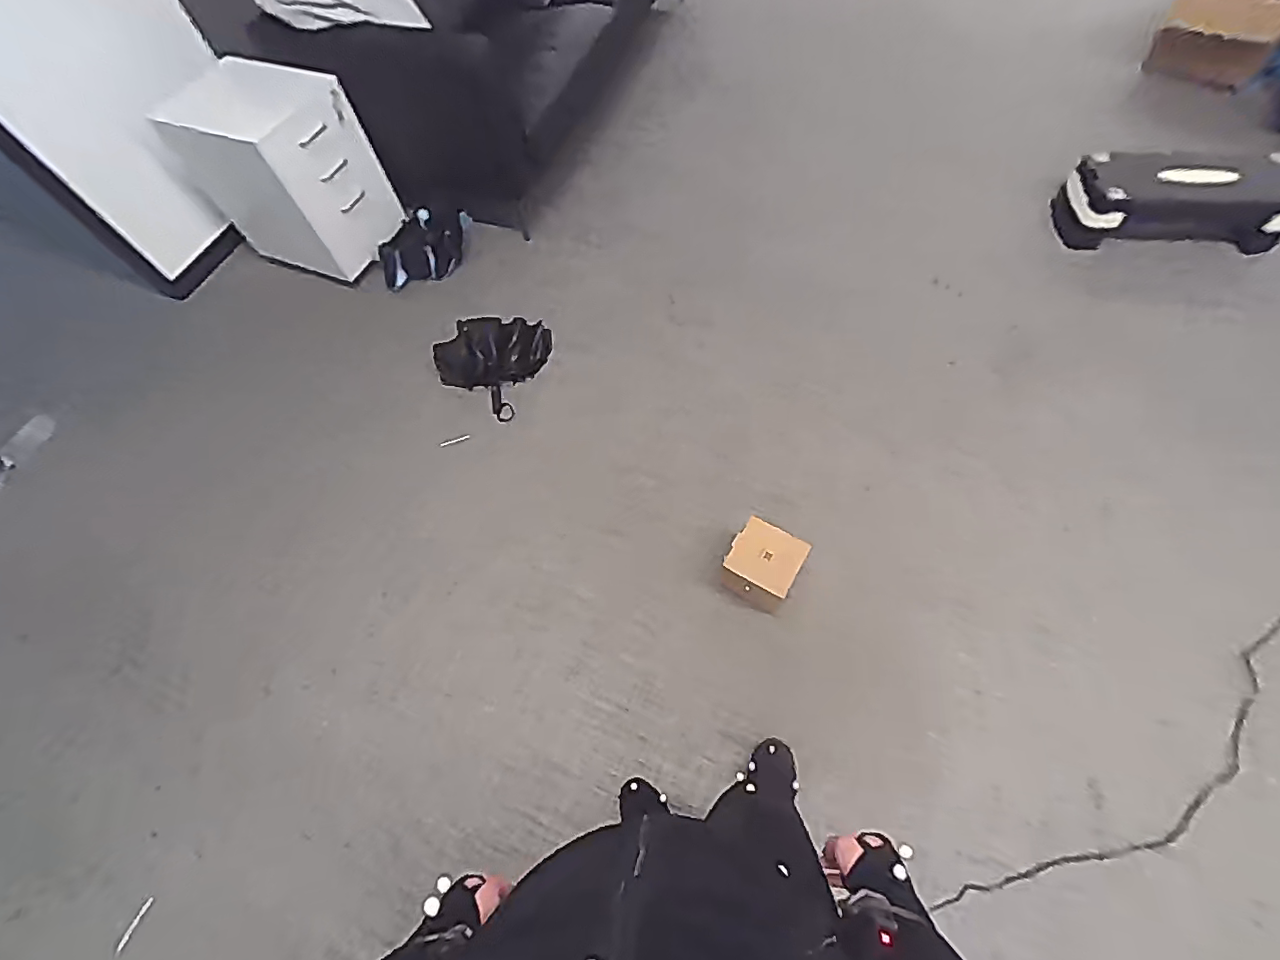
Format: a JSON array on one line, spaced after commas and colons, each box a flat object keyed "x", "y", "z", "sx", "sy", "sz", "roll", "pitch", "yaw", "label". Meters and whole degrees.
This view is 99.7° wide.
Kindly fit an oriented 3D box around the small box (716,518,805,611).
[{"x": 0.320, "y": 0.238, "z": 1.476, "sx": 0.179, "sy": 0.176, "sz": 0.168, "roll": 28, "pitch": 69, "yaw": 16, "label": "small box"}]
